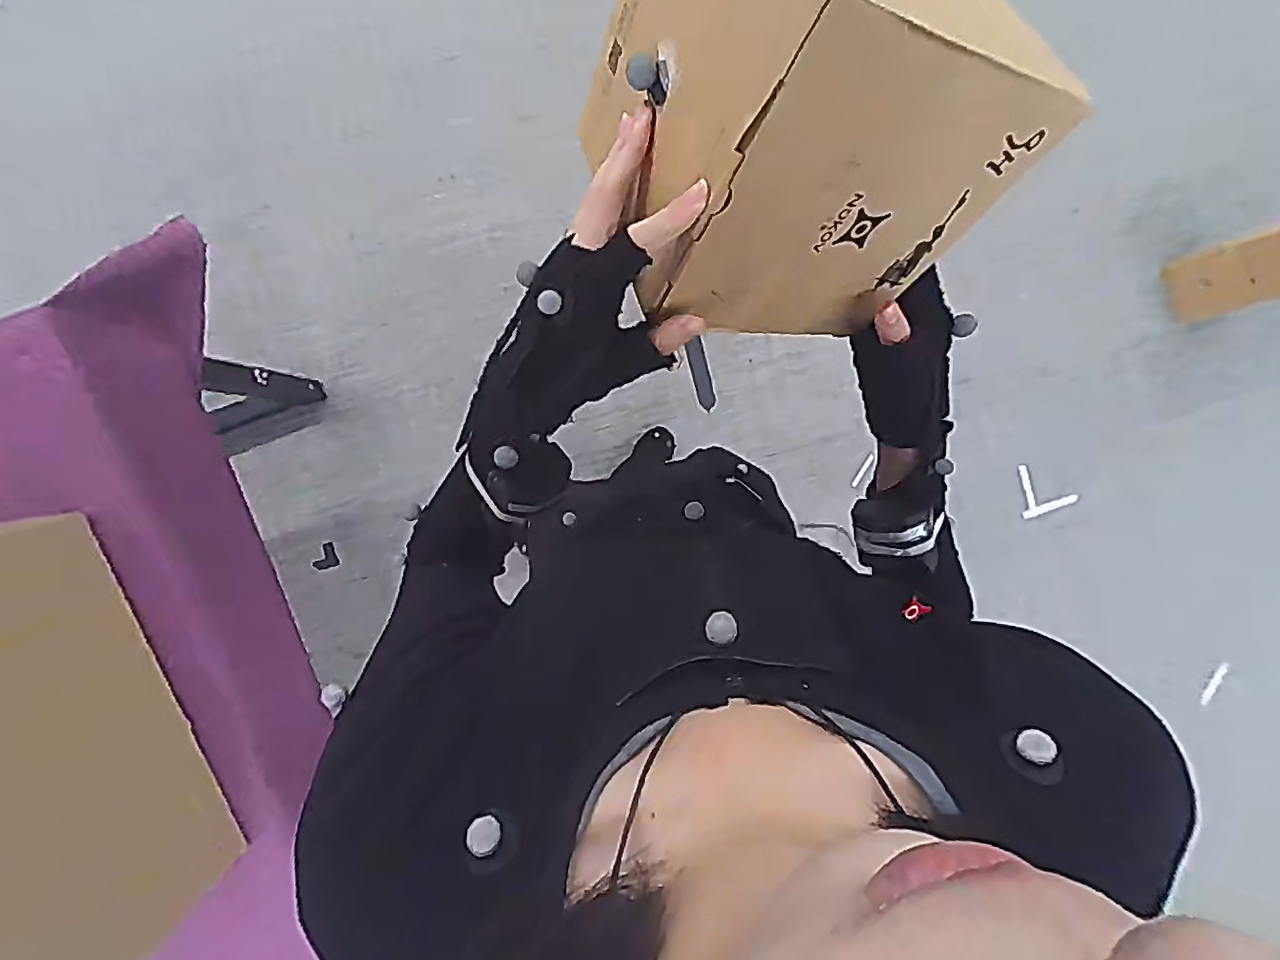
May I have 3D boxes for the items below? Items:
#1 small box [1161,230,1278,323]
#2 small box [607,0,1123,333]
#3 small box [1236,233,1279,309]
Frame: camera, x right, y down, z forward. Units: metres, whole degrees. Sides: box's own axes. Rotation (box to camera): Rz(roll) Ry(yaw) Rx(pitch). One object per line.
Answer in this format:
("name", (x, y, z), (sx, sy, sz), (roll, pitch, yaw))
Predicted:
("small box", (1.627, -0.554, 1.504), (0.168, 0.176, 0.179), (-24, 94, -2))
("small box", (0.097, -0.209, 0.306), (0.179, 0.168, 0.176), (-3, 64, -27))
("small box", (1.651, -0.545, 1.343), (0.179, 0.176, 0.168), (-21, 96, -3))
